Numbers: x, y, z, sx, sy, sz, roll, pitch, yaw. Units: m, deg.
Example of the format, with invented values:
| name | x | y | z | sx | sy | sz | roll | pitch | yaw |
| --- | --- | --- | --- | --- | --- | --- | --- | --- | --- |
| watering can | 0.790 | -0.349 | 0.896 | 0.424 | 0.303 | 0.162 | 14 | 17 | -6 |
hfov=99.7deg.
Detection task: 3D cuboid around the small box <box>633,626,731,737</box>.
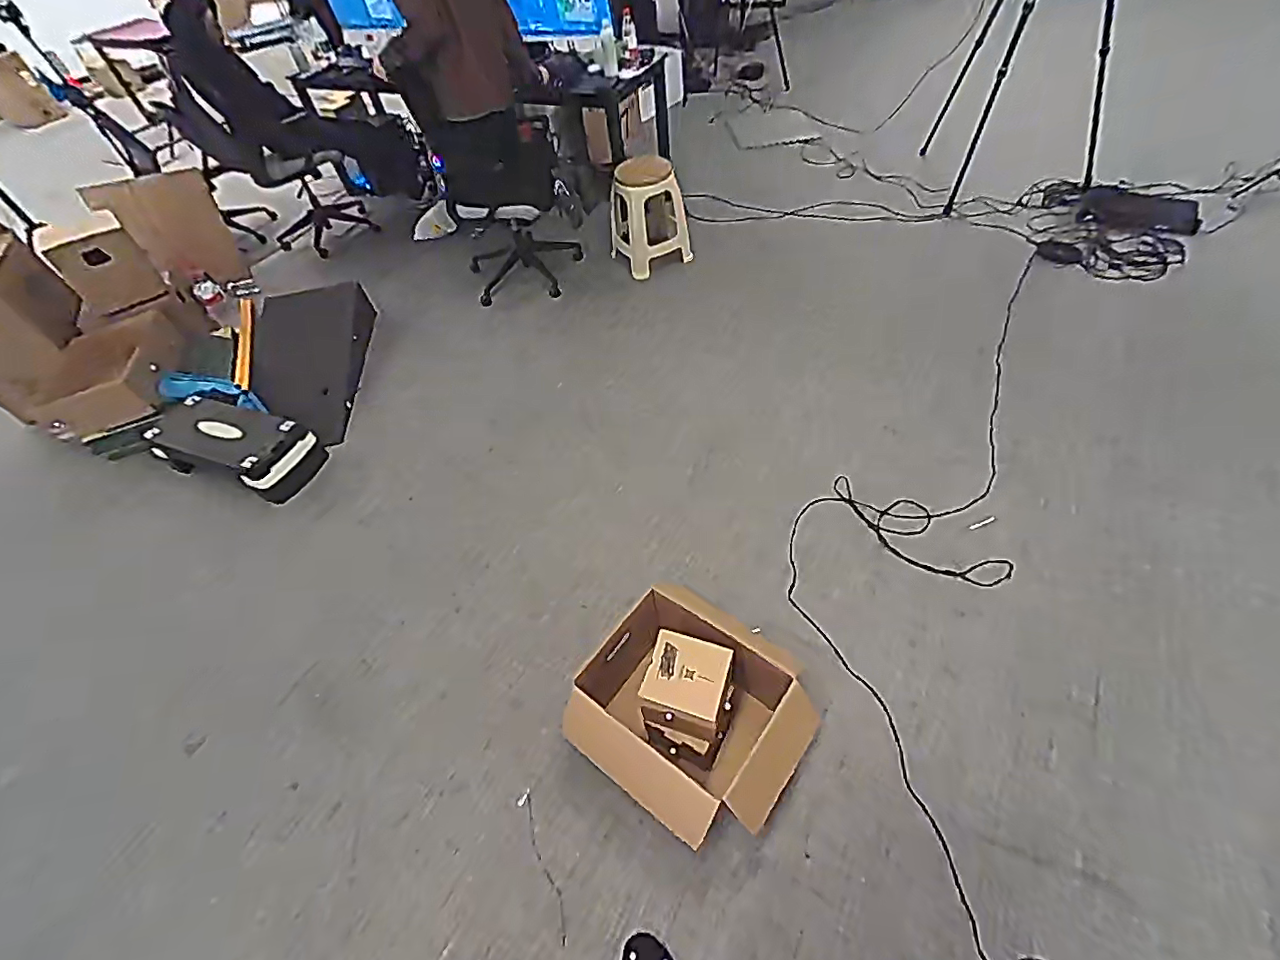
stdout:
| name | x | y | z | sx | sy | sz | roll | pitch | yaw |
| --- | --- | --- | --- | --- | --- | --- | --- | --- | --- |
| small box | 0.104 | 0.470 | 1.251 | 0.179 | 0.176 | 0.168 | 15 | 56 | 20 |
